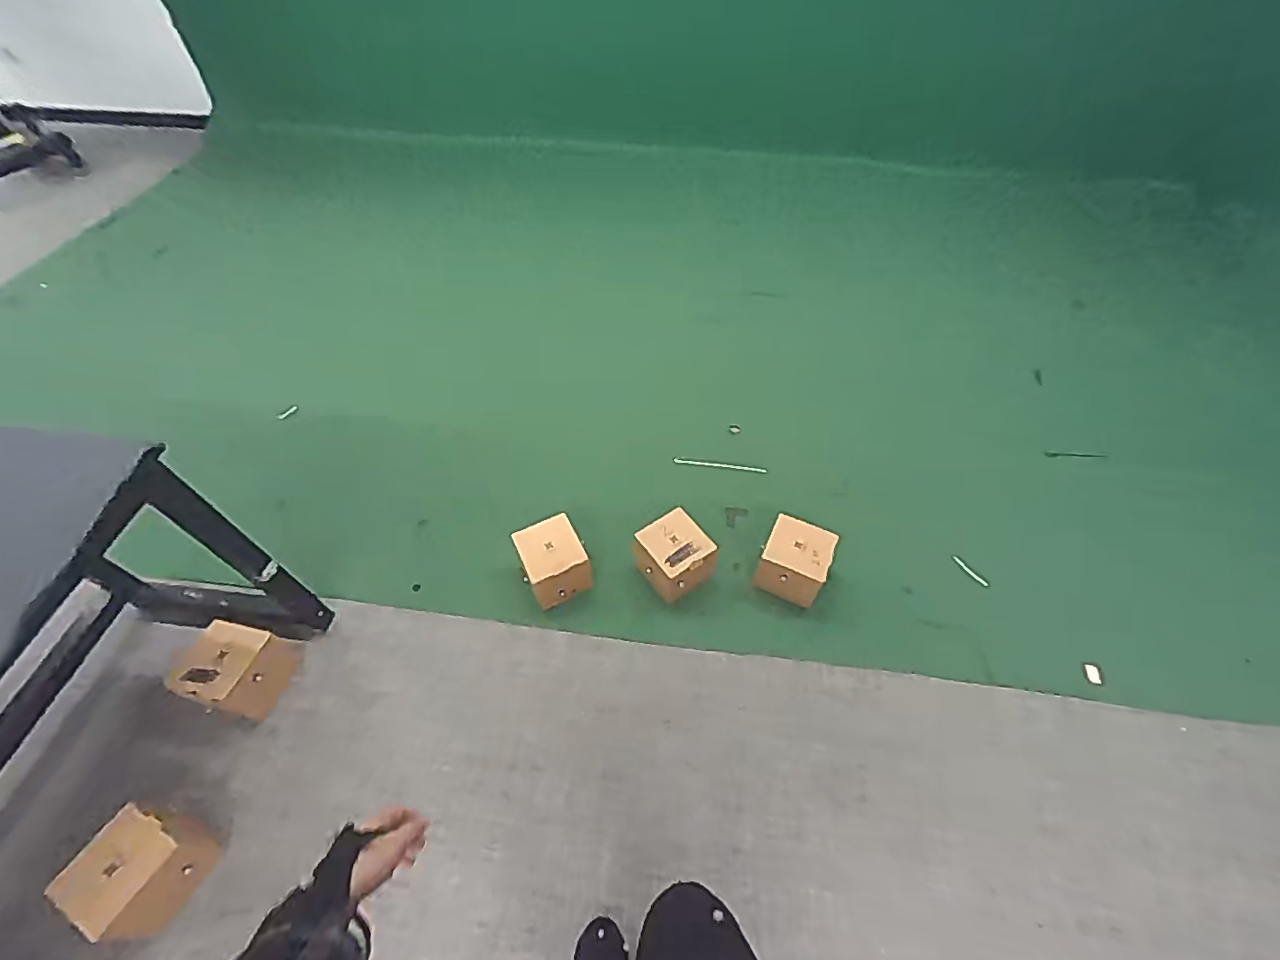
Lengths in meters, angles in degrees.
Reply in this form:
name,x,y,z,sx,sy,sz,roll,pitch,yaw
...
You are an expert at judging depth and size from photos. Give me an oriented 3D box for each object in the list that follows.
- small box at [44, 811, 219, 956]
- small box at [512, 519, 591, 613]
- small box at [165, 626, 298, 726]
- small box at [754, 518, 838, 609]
name,x,y,z,sx,sy,sz,roll,pitch,yaw
small box,-1.022,0.820,1.112,0.168,0.176,0.179,22,57,17
small box,-0.250,0.248,1.551,0.168,0.176,0.179,-23,57,-17
small box,-1.008,0.497,1.358,0.168,0.176,0.179,10,52,7
small box,0.441,0.244,1.550,0.179,0.176,0.168,22,56,15
